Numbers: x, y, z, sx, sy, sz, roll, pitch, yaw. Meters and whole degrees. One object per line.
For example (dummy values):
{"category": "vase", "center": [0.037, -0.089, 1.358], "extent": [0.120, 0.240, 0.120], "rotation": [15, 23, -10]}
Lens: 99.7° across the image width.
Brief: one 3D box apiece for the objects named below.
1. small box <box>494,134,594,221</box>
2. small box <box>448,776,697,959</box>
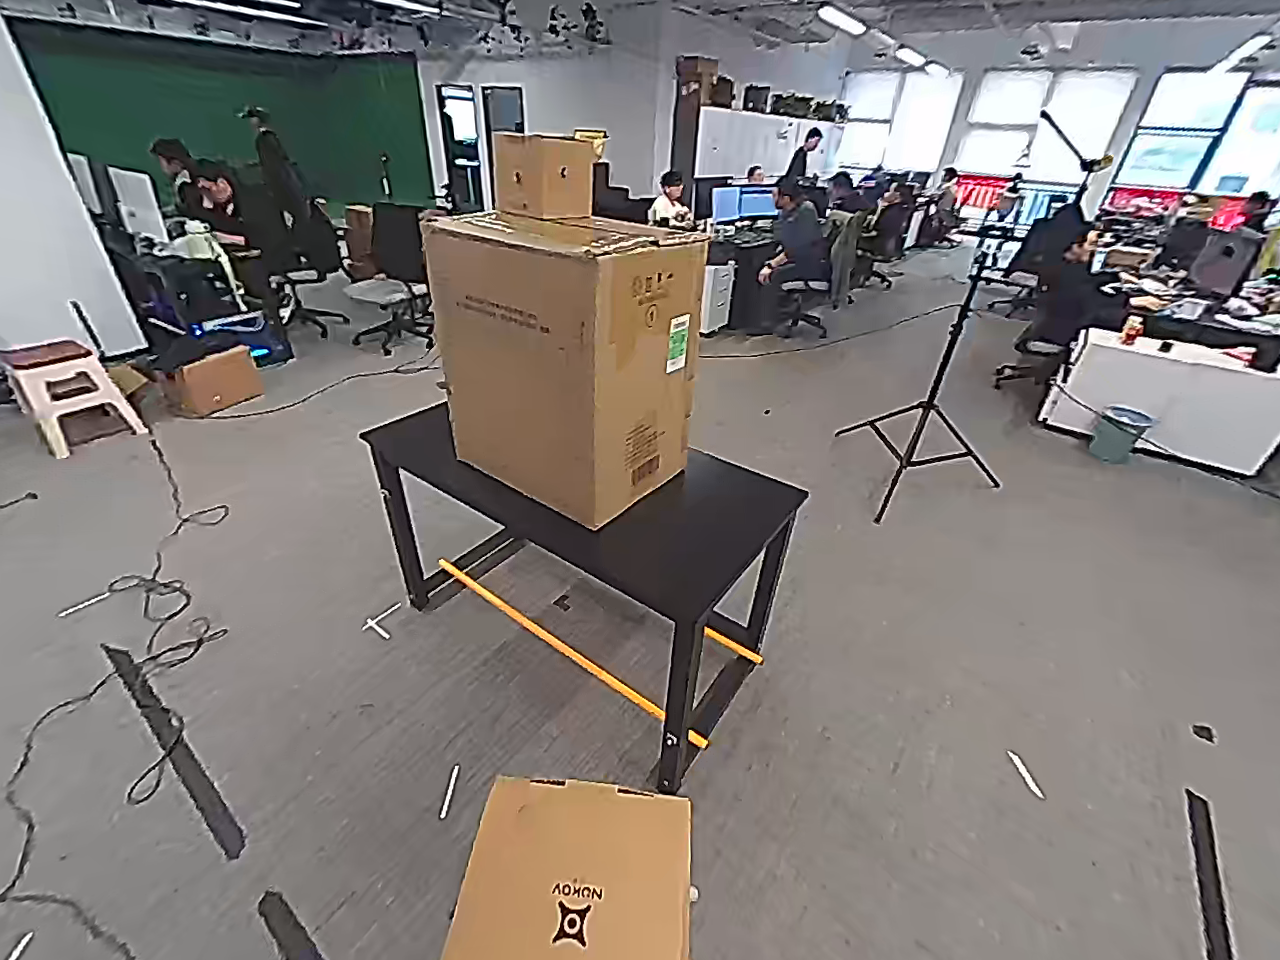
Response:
{"category": "small box", "center": [-0.226, -0.731, 1.309], "extent": [0.168, 0.176, 0.179], "rotation": [25, 37, 28]}
{"category": "small box", "center": [-0.048, 0.368, 0.424], "extent": [0.168, 0.176, 0.179], "rotation": [6, 38, 2]}
